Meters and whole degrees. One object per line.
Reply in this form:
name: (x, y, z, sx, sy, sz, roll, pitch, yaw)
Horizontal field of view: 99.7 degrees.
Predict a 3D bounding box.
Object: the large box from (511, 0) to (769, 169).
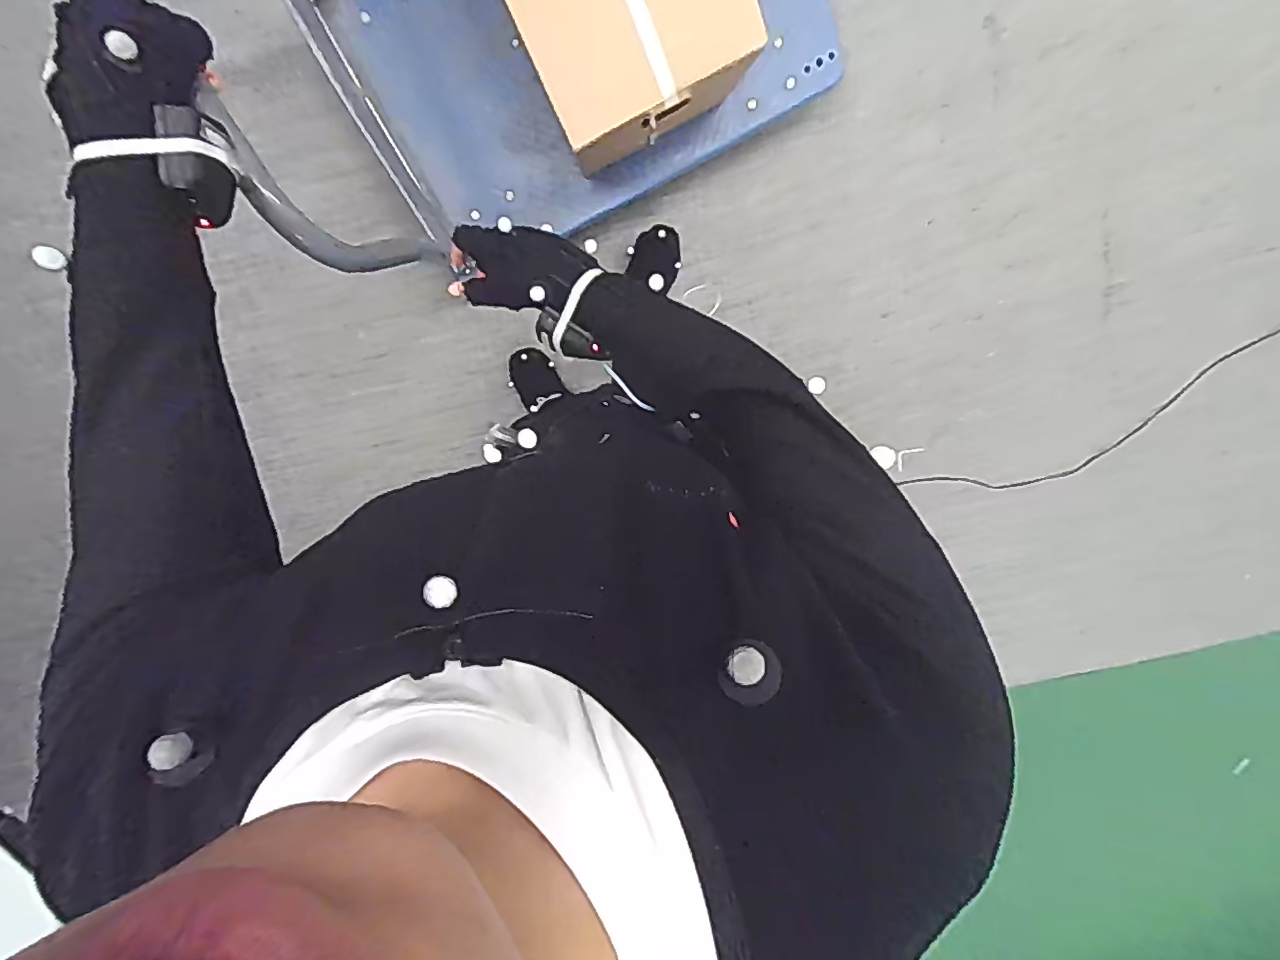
large box: (-0.043, -0.781, 0.844, 0.320, 0.320, 0.408, -24, 111, 7)
